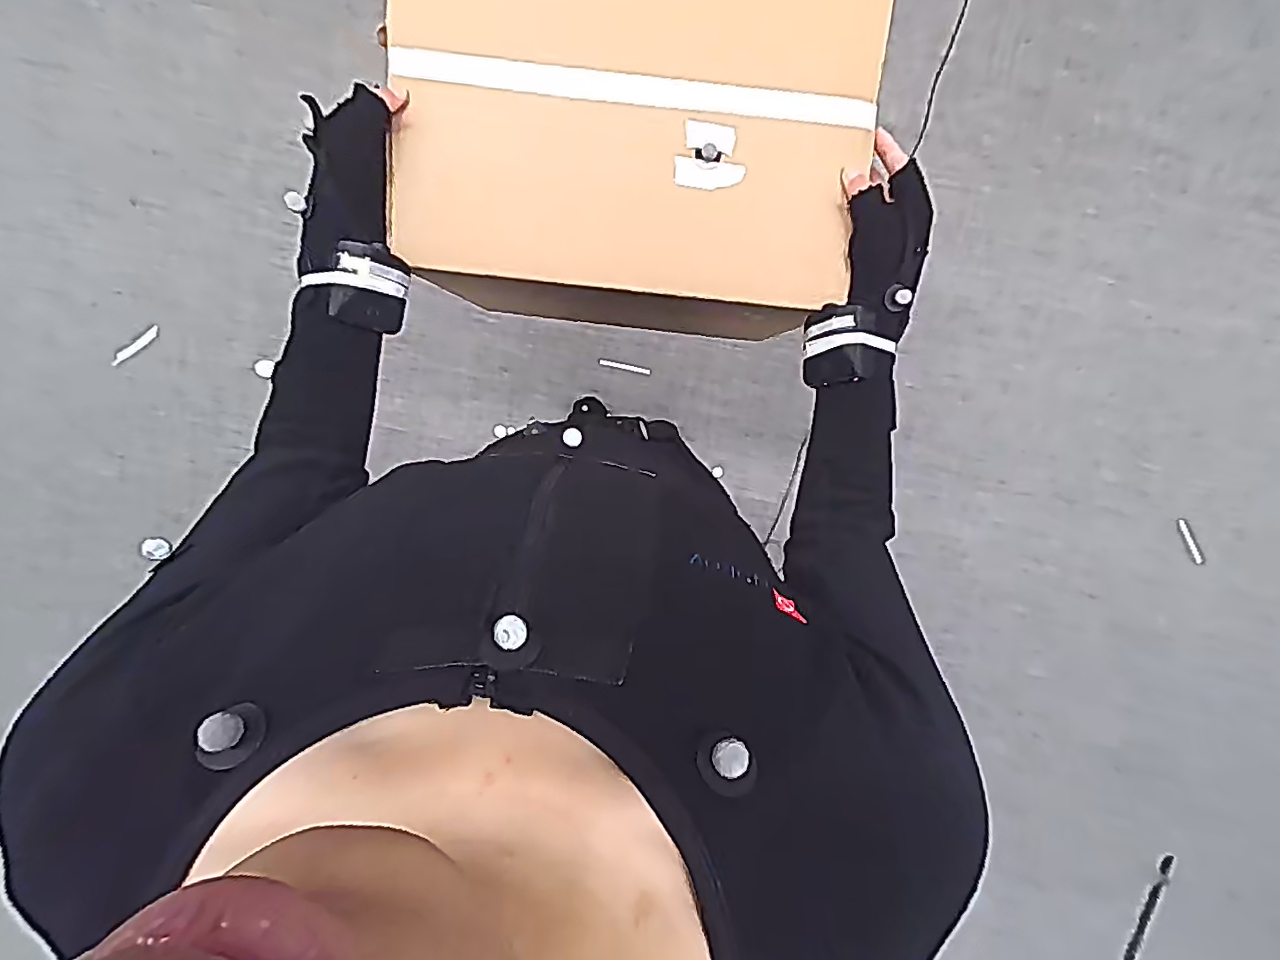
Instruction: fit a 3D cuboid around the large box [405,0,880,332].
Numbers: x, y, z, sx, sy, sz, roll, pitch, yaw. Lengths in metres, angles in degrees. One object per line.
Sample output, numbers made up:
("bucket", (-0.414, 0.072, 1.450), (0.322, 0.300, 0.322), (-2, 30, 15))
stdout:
("large box", (-0.007, -0.354, 0.613), (0.408, 0.320, 0.320), (5, 101, -2))
